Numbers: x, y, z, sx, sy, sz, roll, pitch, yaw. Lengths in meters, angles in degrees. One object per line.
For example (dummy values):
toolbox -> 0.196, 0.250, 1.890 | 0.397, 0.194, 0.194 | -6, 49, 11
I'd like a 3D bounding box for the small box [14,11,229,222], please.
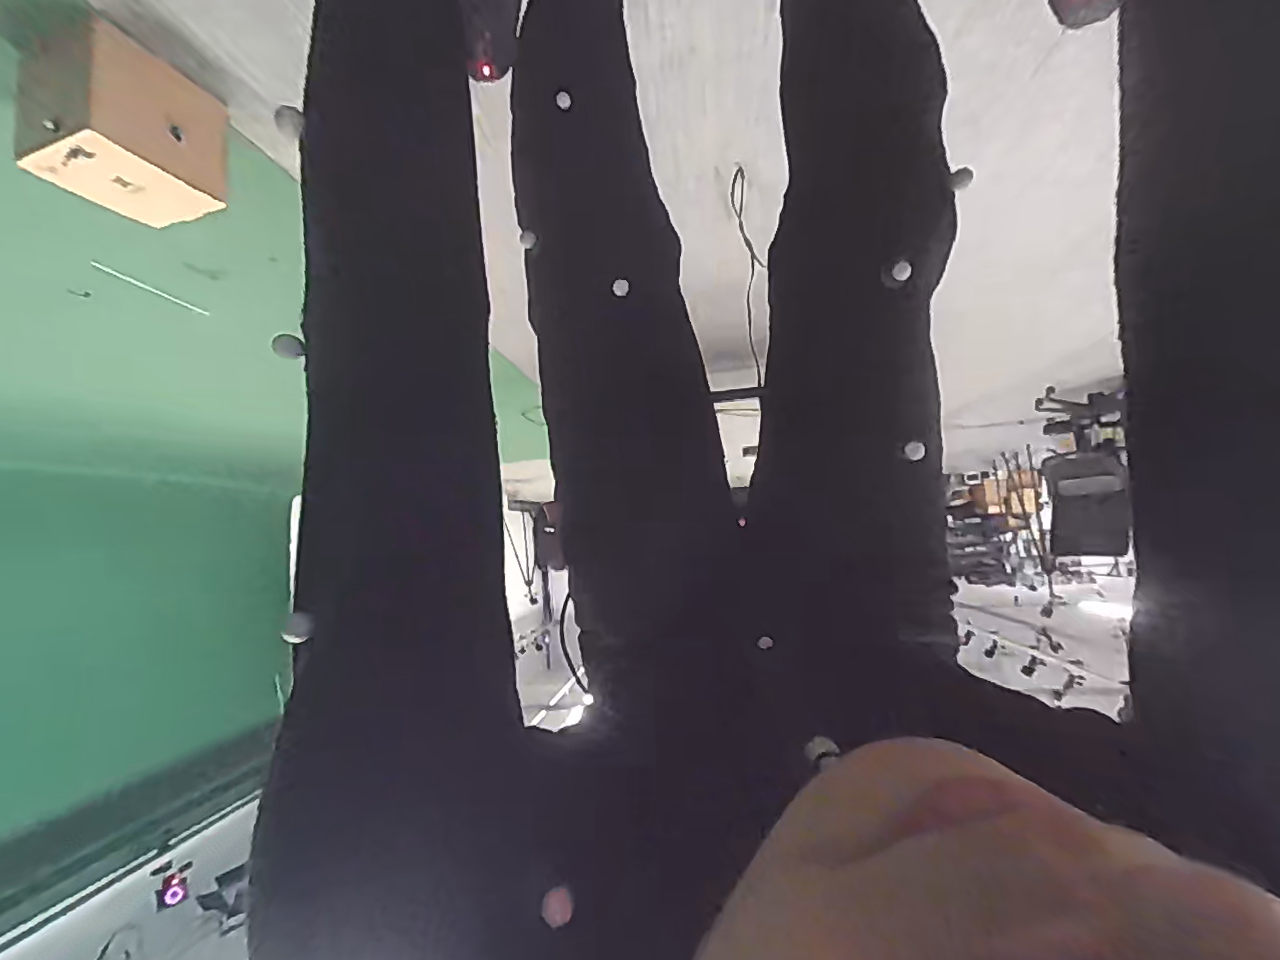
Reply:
small box -> -0.745, -0.517, 0.792 | 0.168, 0.176, 0.179 | -5, 174, 17
